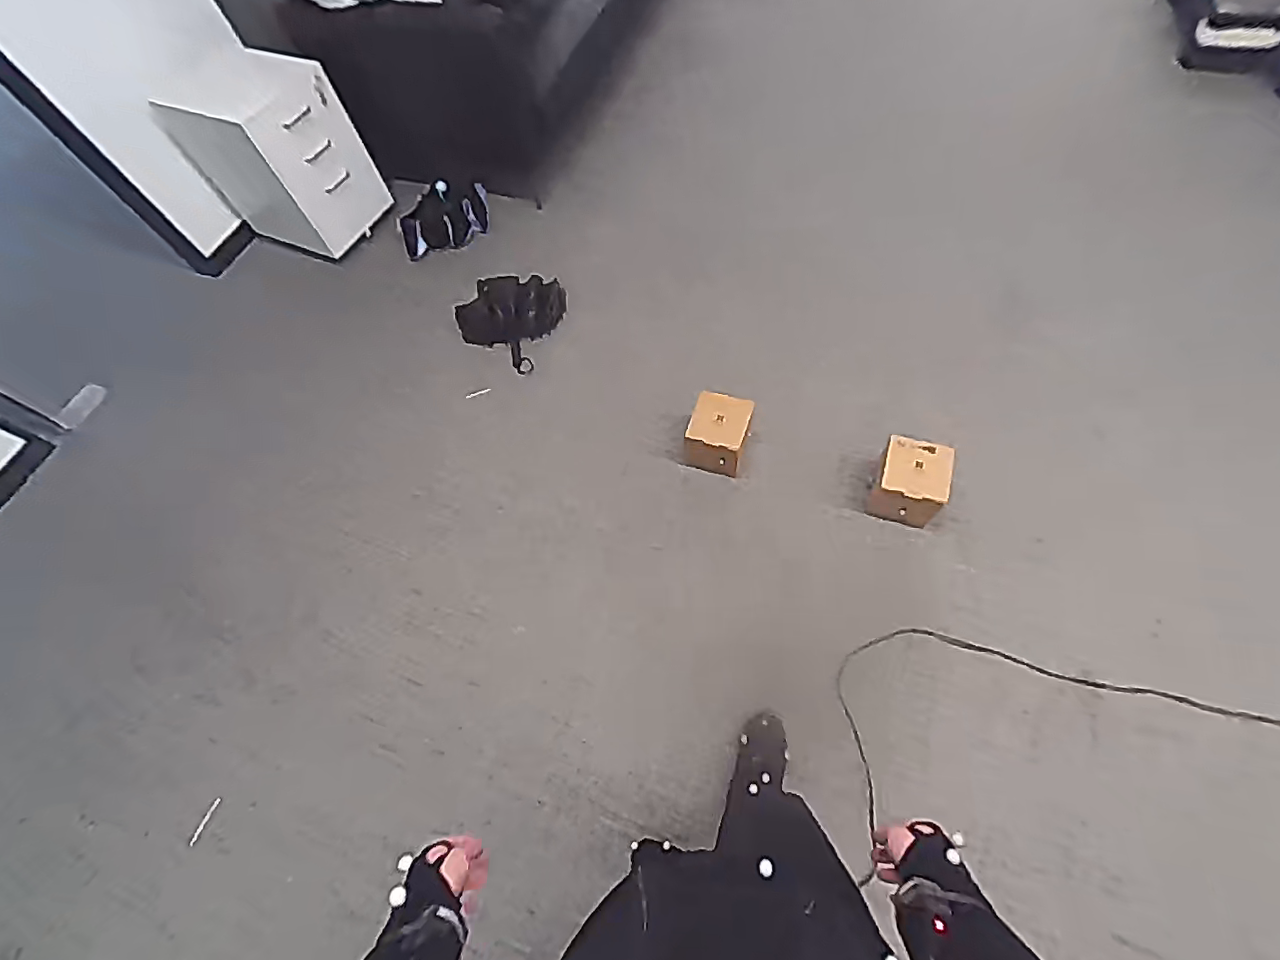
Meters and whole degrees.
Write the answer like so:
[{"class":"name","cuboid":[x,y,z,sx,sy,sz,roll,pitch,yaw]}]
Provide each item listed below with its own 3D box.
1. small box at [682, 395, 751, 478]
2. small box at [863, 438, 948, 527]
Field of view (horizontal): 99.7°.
[{"class":"small box","cuboid":[0.237,-0.130,1.672,0.168,0.176,0.179,15,63,13]},{"class":"small box","cuboid":[0.745,0.012,1.530,0.168,0.176,0.179,16,66,15]}]
